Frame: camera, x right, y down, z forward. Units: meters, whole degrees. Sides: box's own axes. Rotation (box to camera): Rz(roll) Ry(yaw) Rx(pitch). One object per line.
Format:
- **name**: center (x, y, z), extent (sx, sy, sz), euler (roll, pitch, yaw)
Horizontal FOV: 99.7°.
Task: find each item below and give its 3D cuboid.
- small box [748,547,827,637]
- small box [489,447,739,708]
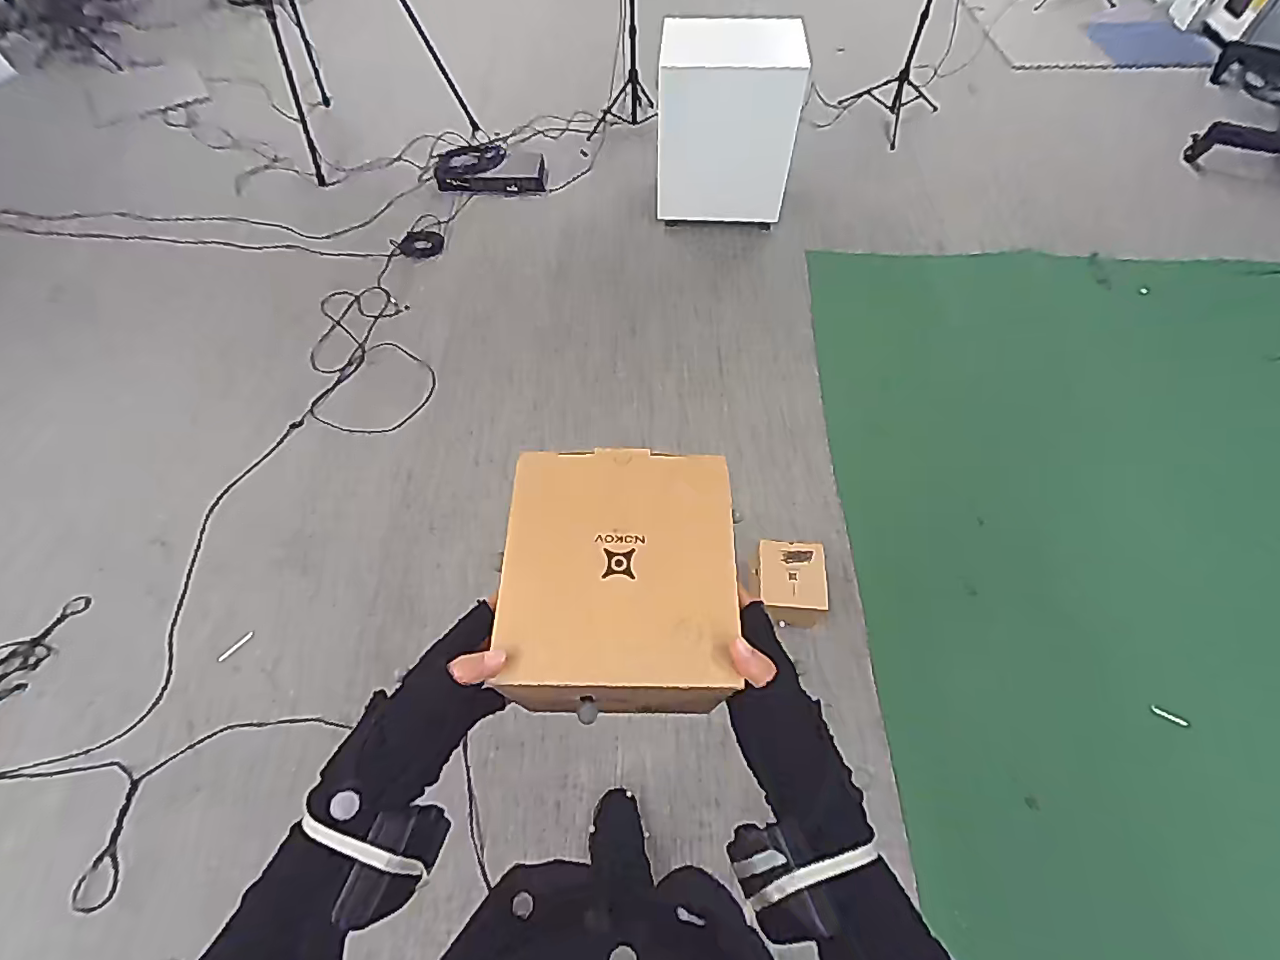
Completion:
- **small box**: center (0.377, 0.294, 1.412), extent (0.168, 0.176, 0.179), euler (4, 59, 3)
- **small box**: center (-0.015, 0.090, 0.455), extent (0.168, 0.176, 0.179), euler (1, 59, -1)
